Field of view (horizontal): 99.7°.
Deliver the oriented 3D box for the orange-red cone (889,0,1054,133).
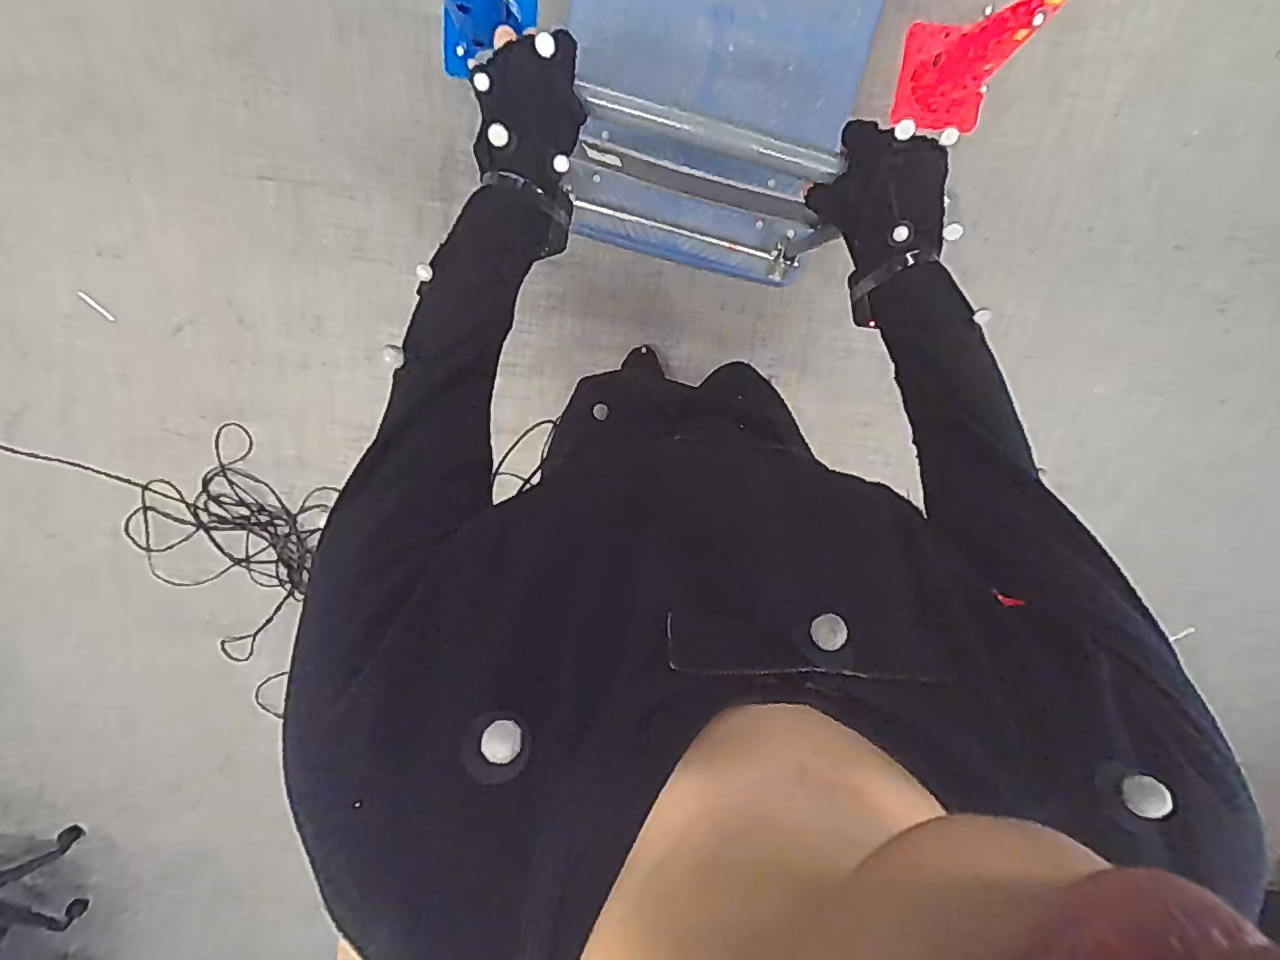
[{"bbox_3d":[0.673,-0.854,1.057,0.199,0.360,0.198,6,107,-1],"label":"orange-red cone"}]
